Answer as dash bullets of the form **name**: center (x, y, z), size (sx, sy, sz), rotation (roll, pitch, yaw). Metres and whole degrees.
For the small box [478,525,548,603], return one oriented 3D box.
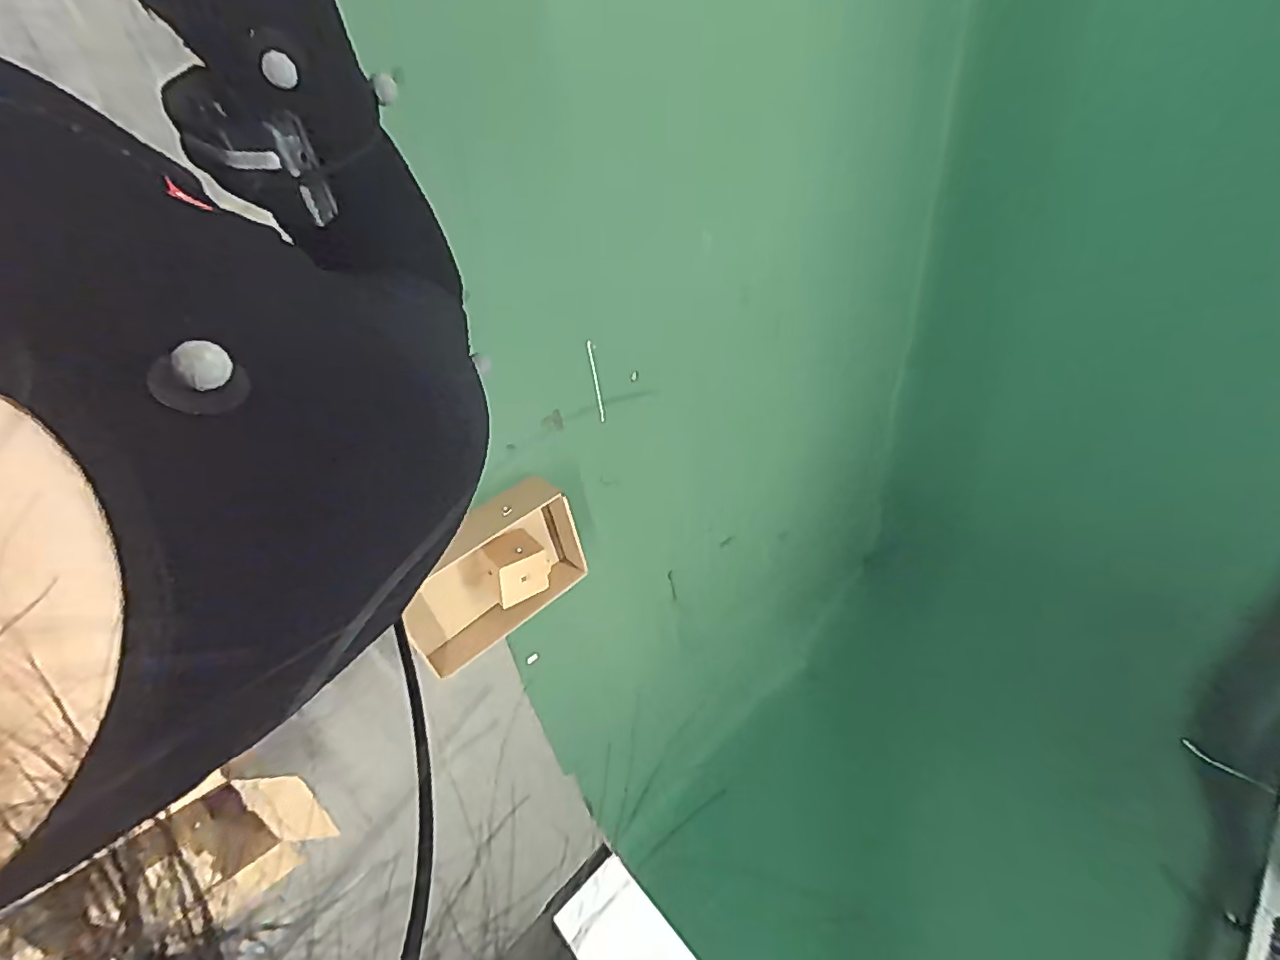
- **small box**: center (-0.433, 0.278, 1.823), size (0.179, 0.176, 0.168), rotation (-22, 127, -35)

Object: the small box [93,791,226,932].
- **small box**: center (-1.110, 0.871, 1.250), size (0.179, 0.176, 0.168), rotation (-31, 129, -30)
